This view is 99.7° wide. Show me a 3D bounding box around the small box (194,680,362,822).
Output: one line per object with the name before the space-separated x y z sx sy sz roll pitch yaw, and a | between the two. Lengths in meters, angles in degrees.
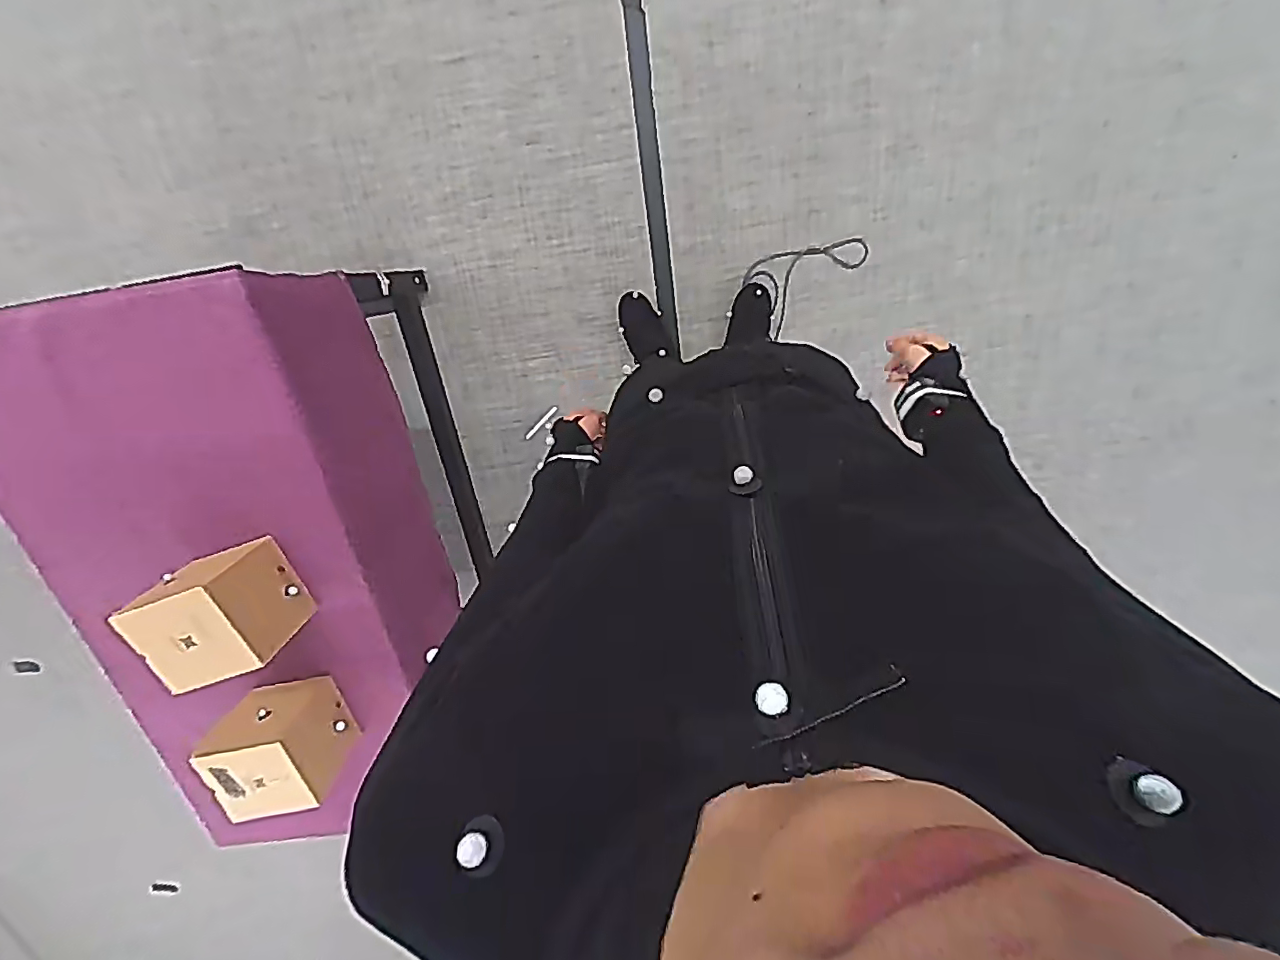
small box | -0.682 0.515 1.041 0.179 0.176 0.168 -12 112 5

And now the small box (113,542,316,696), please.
small box | -0.712 0.232 0.928 0.179 0.176 0.168 -18 111 9
